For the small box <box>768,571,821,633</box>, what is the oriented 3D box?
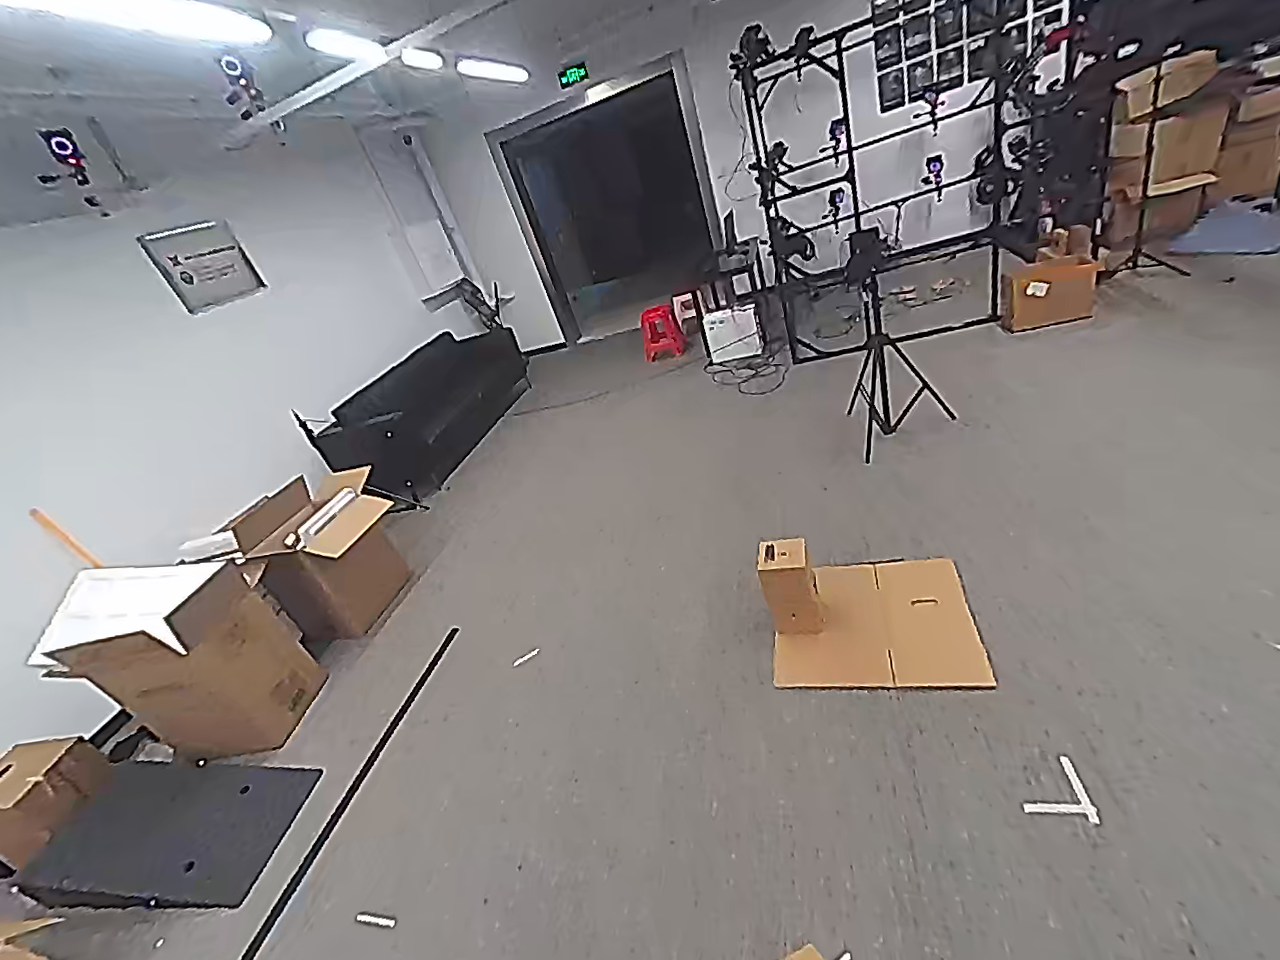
[{"bbox_3d":[0.611,0.484,2.129,0.179,0.176,0.168,-10,30,21],"label":"small box"}]
